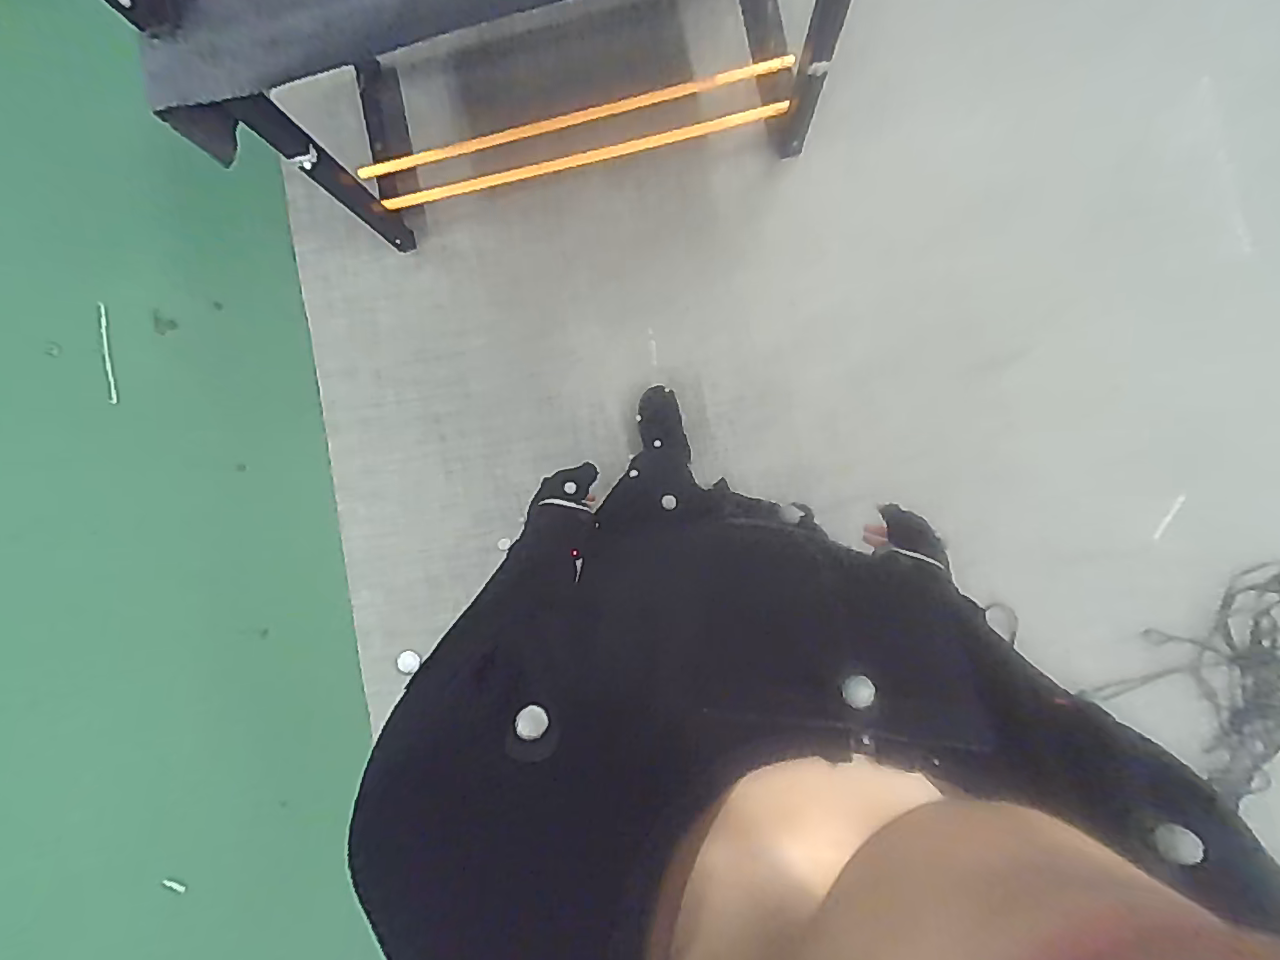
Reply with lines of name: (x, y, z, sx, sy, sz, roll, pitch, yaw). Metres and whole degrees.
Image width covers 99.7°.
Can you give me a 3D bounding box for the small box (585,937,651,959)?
small box: (-0.055, 1.321, 1.376, 0.168, 0.176, 0.179, -8, 87, 5)
